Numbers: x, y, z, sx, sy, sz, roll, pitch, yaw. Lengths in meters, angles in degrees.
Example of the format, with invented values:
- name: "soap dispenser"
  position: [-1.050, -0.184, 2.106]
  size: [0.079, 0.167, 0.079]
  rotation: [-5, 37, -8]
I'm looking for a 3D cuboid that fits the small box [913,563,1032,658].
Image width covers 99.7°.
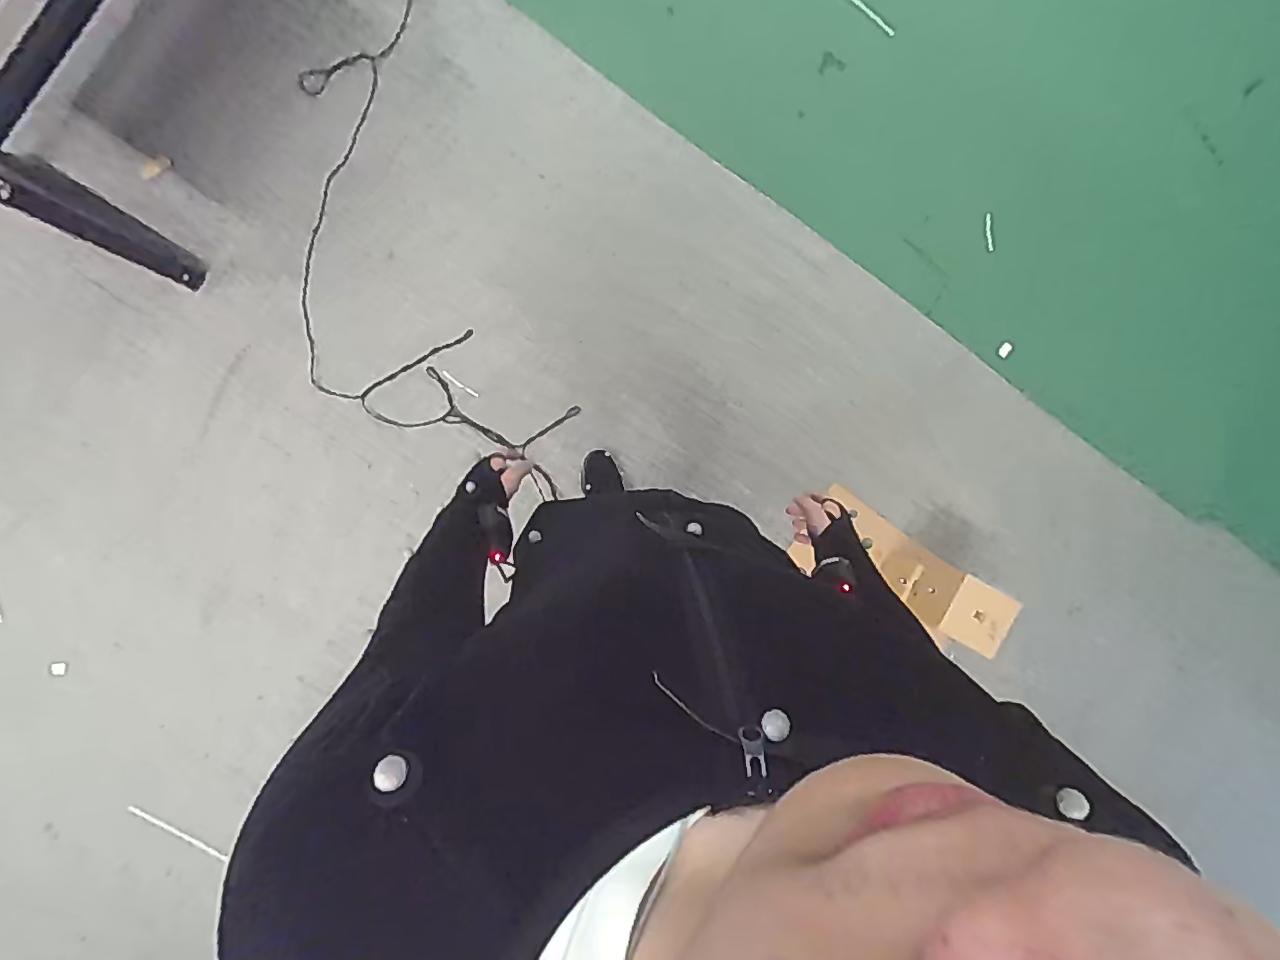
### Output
- name: "small box"
  position: [0.871, 0.336, 1.435]
  size: [0.179, 0.176, 0.168]
  rotation: [30, 91, -5]

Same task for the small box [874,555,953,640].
- name: "small box"
  position: [0.836, 0.339, 1.599]
  size: [0.179, 0.176, 0.168]
  rotation: [29, 90, -5]
